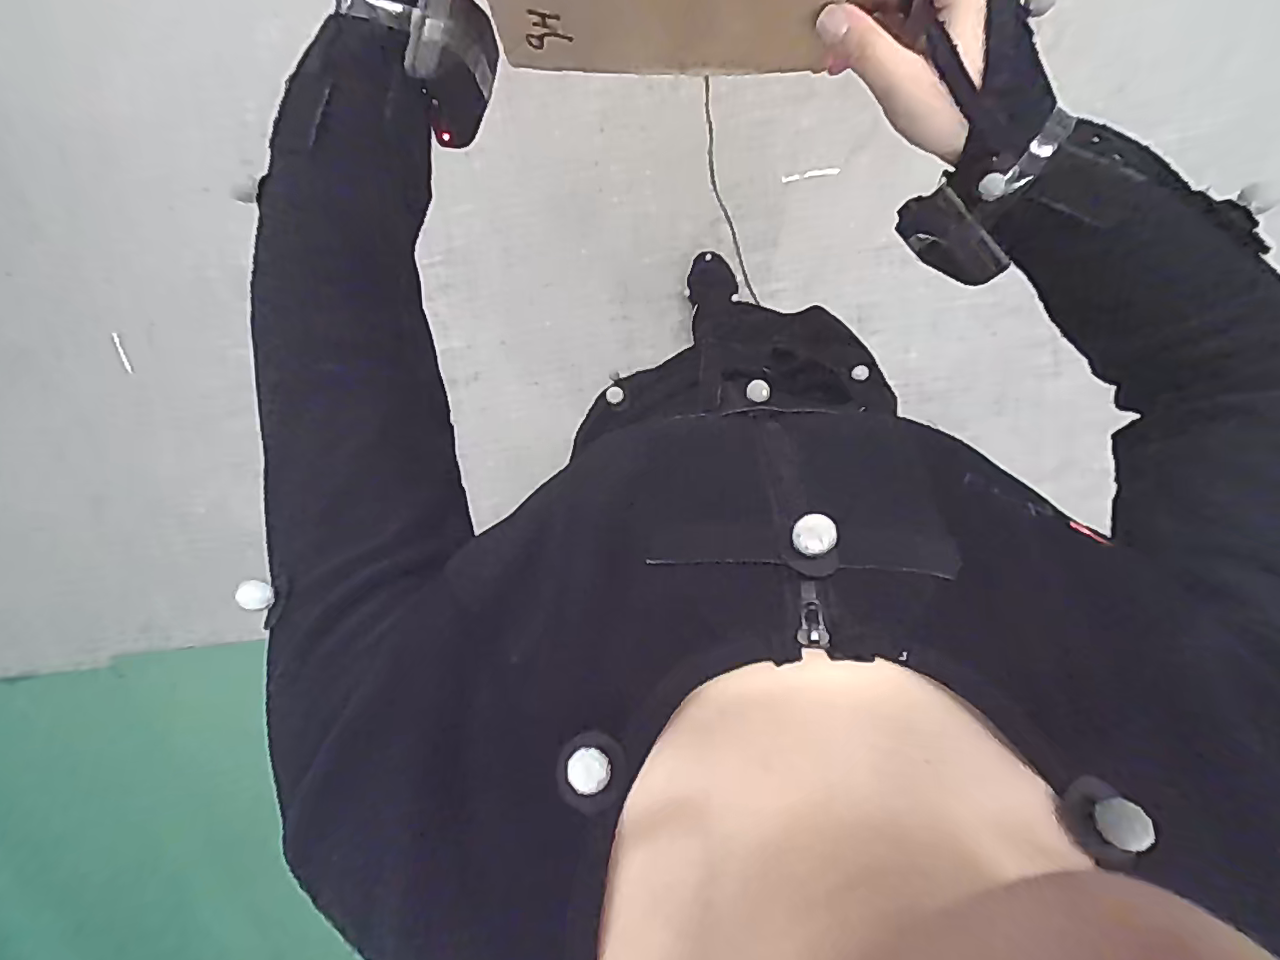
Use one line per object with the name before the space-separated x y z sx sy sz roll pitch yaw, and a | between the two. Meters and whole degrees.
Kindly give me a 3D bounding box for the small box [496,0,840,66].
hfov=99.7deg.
small box | 0.014 -0.319 0.226 0.179 0.168 0.176 1 90 1
